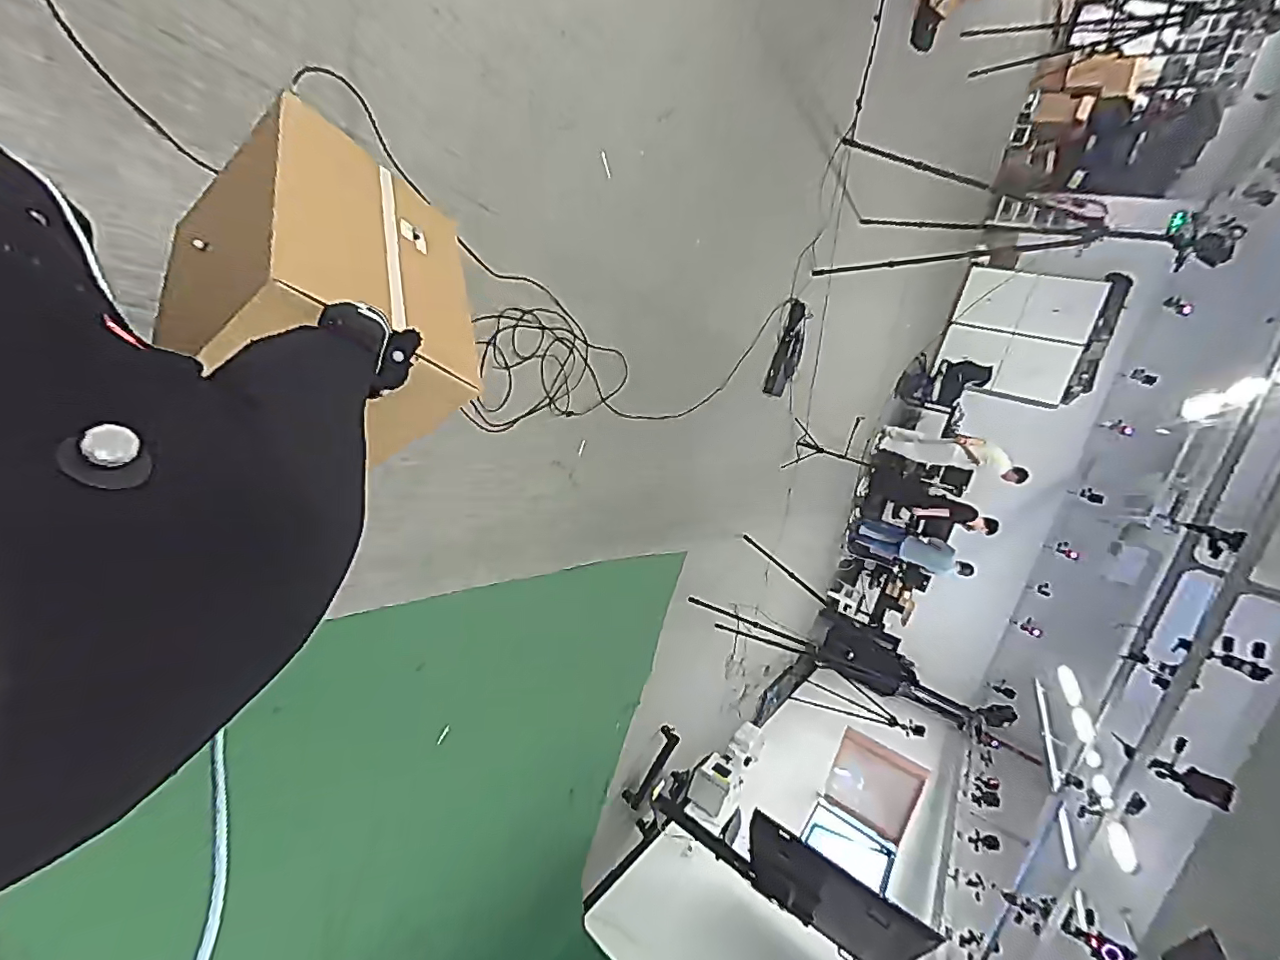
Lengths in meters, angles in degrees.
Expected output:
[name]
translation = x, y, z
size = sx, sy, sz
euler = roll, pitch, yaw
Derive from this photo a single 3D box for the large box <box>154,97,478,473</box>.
[large box]
translation = -0.508, -0.280, 0.872
size = 0.320, 0.408, 0.320
euler = -29, 151, 21
